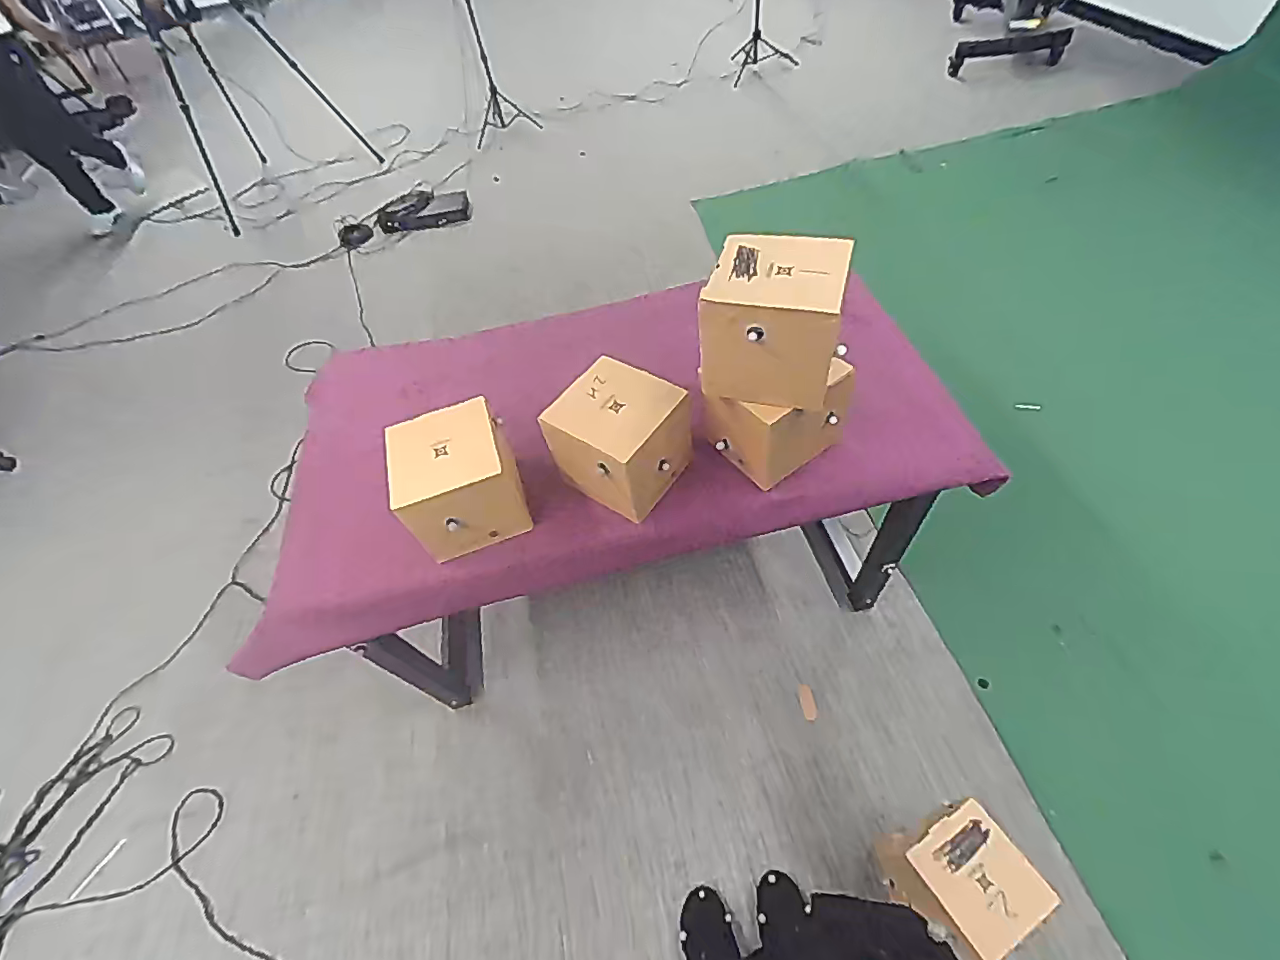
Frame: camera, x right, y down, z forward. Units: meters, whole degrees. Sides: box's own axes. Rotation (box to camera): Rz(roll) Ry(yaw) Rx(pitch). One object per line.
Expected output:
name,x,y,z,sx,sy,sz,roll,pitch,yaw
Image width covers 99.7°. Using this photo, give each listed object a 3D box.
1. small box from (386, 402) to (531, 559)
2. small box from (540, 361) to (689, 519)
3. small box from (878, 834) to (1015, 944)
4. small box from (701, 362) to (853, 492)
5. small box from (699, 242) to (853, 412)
small box,-0.291,0.009,0.883,0.168,0.176,0.179,-20,52,-7
small box,-0.031,-0.059,0.893,0.179,0.176,0.168,28,62,26
small box,0.592,0.813,1.080,0.179,0.176,0.168,-6,54,4
small box,0.219,-0.115,0.900,0.179,0.176,0.168,-33,54,-15
small box,0.192,-0.218,0.776,0.179,0.176,0.168,12,55,17
